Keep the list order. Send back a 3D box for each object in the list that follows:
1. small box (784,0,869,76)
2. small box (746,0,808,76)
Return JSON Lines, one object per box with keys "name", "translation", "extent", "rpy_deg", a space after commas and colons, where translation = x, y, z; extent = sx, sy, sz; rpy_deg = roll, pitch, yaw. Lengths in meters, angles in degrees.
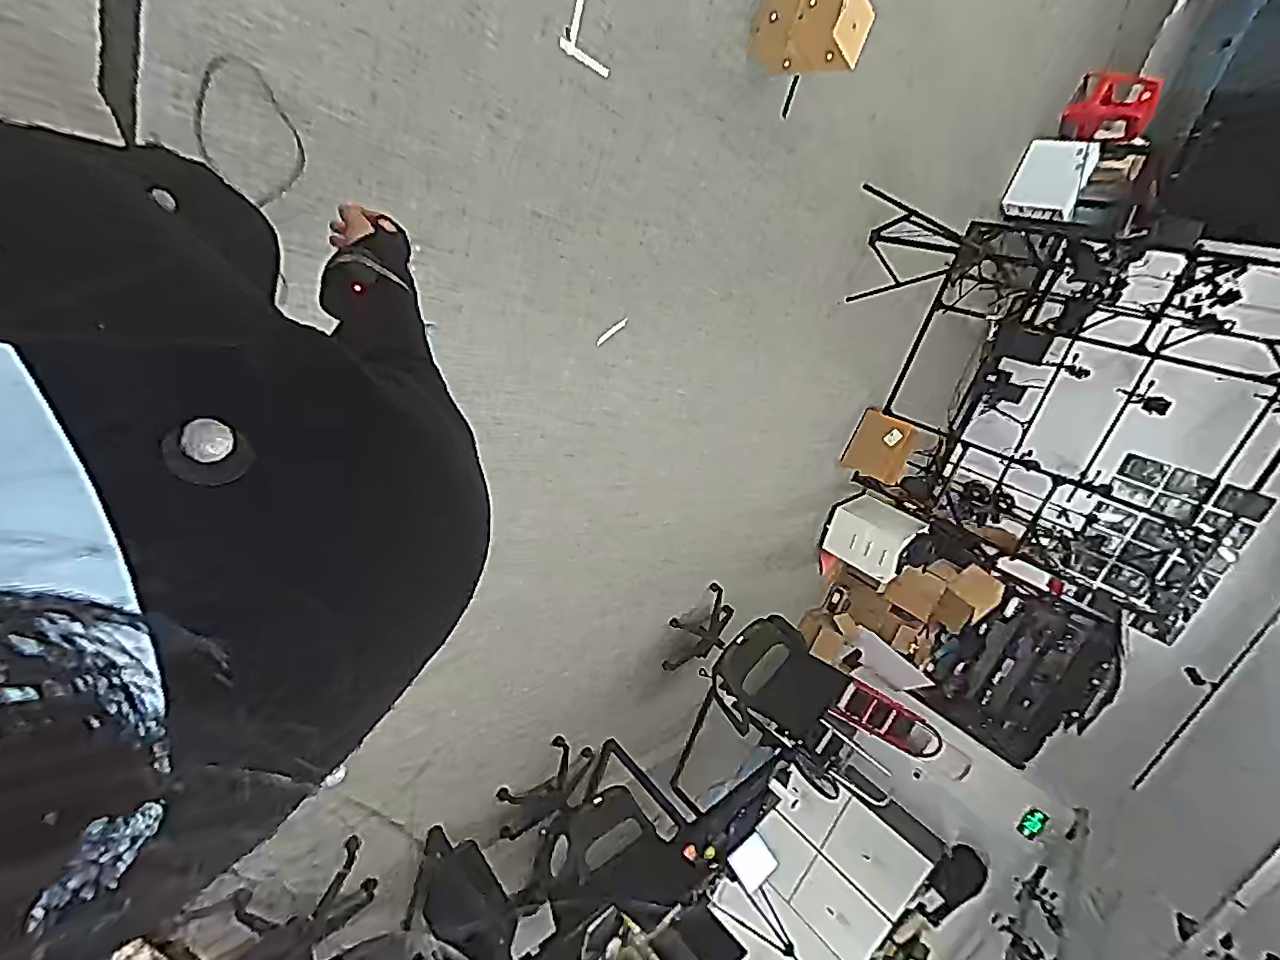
{"name": "small box", "translation": [0.597, -1.441, 1.736], "extent": [0.179, 0.176, 0.168], "rpy_deg": [6, 110, -49]}
{"name": "small box", "translation": [0.488, -1.504, 1.840], "extent": [0.179, 0.176, 0.168], "rpy_deg": [-4, 118, -48]}
